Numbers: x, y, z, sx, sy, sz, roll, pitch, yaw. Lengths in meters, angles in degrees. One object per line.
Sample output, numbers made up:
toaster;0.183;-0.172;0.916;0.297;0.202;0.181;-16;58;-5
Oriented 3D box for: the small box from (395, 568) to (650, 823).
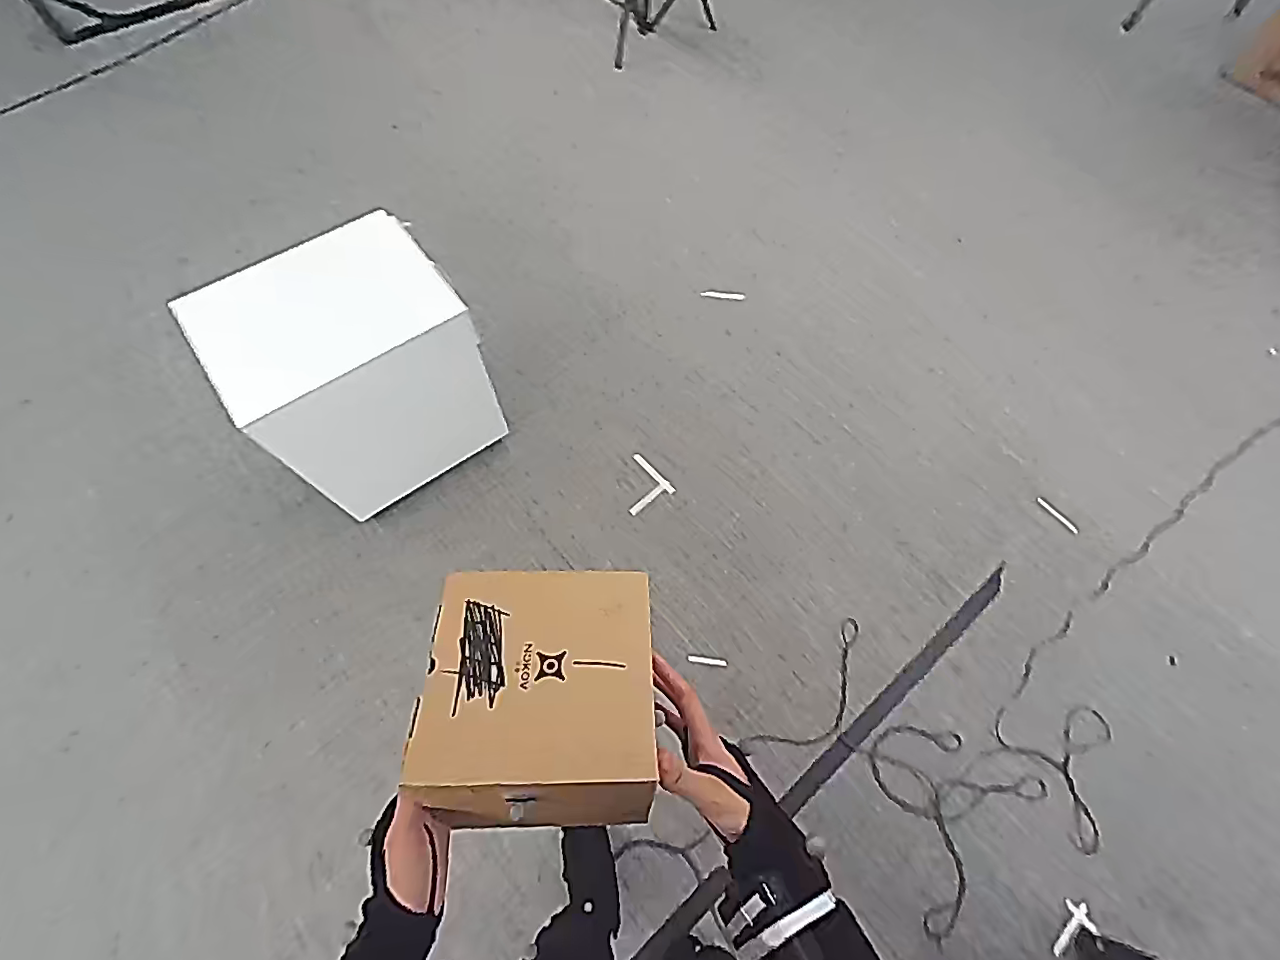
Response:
small box;-0.084;0.193;0.477;0.179;0.176;0.168;0;49;-3
